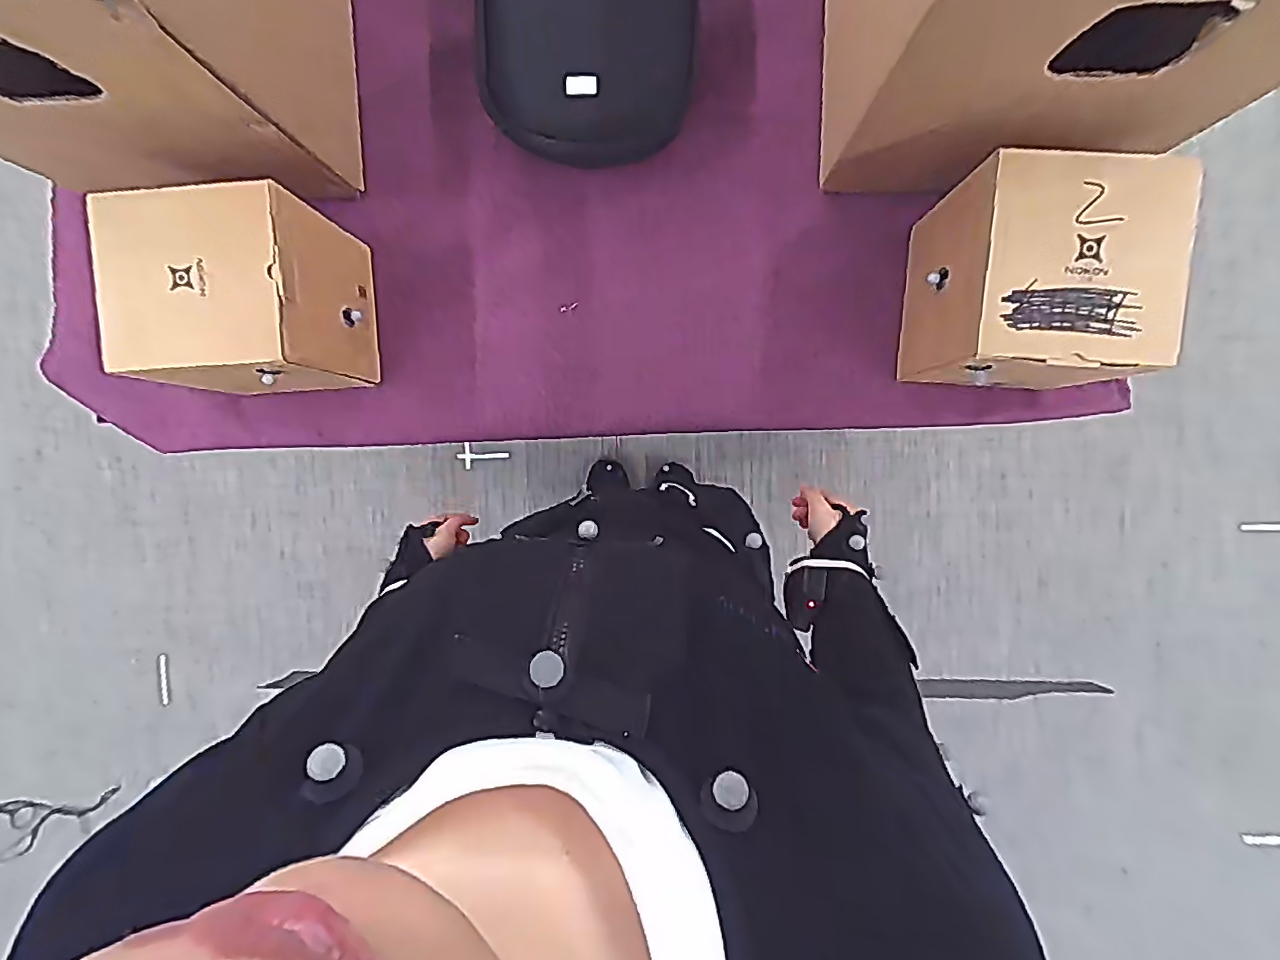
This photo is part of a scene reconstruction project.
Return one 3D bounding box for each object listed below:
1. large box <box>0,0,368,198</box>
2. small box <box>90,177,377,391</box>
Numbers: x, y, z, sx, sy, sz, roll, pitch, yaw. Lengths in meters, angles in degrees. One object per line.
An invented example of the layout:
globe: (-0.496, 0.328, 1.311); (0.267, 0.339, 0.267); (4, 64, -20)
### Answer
large box: (-0.485, -0.519, 0.485); (0.320, 0.320, 0.408); (-3, 96, 1)
small box: (-0.411, -0.191, 0.575); (0.179, 0.176, 0.168); (-4, 92, 2)
